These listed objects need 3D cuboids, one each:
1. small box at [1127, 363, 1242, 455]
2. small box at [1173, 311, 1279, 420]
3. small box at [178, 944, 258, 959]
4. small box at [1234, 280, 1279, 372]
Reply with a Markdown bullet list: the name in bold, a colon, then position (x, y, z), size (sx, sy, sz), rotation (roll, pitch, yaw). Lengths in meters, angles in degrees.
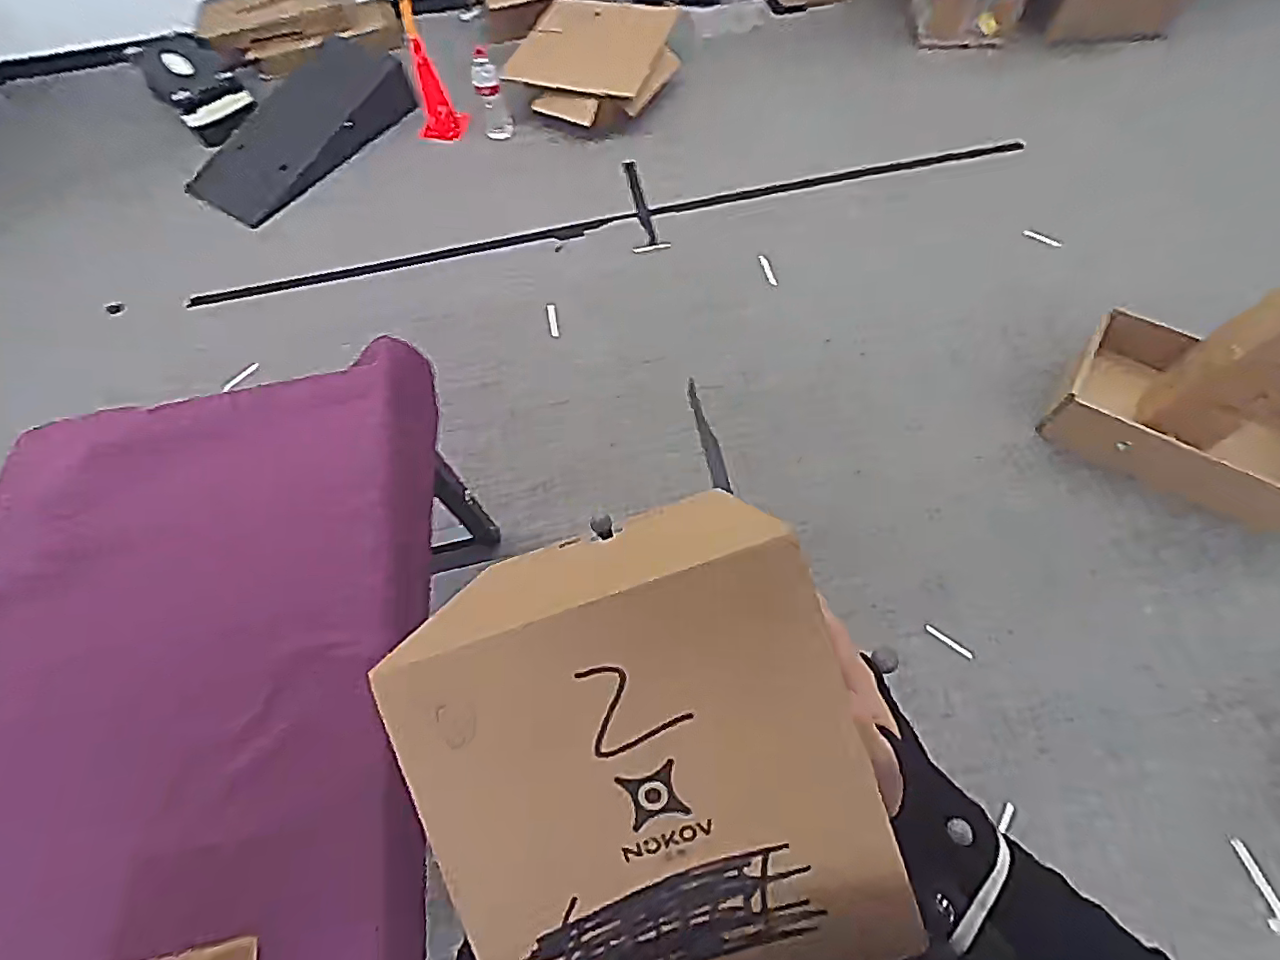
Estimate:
- **small box**: position (1.510, -0.205, 1.498), size (0.168, 0.176, 0.179), rotation (31, 69, 17)
- **small box**: position (1.500, -0.281, 1.355), size (0.168, 0.176, 0.179), rotation (27, 67, 14)
- **small box**: position (-0.472, 0.542, 0.465), size (0.179, 0.176, 0.168), rotation (-13, 64, -3)
- **small box**: position (1.497, -0.351, 1.205), size (0.168, 0.176, 0.179), rotation (27, 68, 13)
